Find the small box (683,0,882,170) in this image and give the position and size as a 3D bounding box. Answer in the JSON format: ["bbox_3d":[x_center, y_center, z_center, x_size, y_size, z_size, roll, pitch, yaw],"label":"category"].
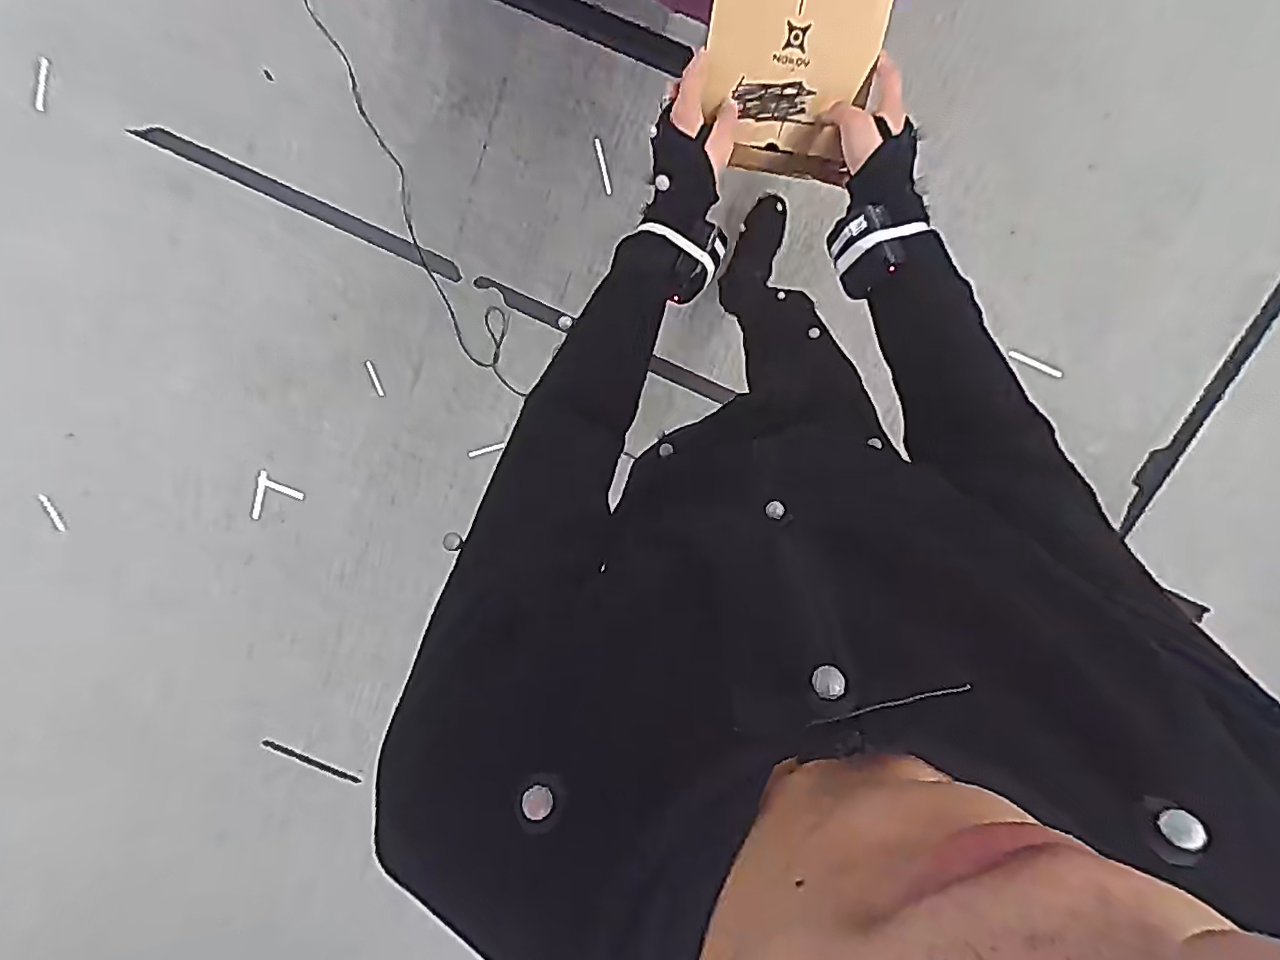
[{"bbox_3d":[0.144,-0.453,0.589,0.168,0.176,0.179,9,114,0],"label":"small box"}]
